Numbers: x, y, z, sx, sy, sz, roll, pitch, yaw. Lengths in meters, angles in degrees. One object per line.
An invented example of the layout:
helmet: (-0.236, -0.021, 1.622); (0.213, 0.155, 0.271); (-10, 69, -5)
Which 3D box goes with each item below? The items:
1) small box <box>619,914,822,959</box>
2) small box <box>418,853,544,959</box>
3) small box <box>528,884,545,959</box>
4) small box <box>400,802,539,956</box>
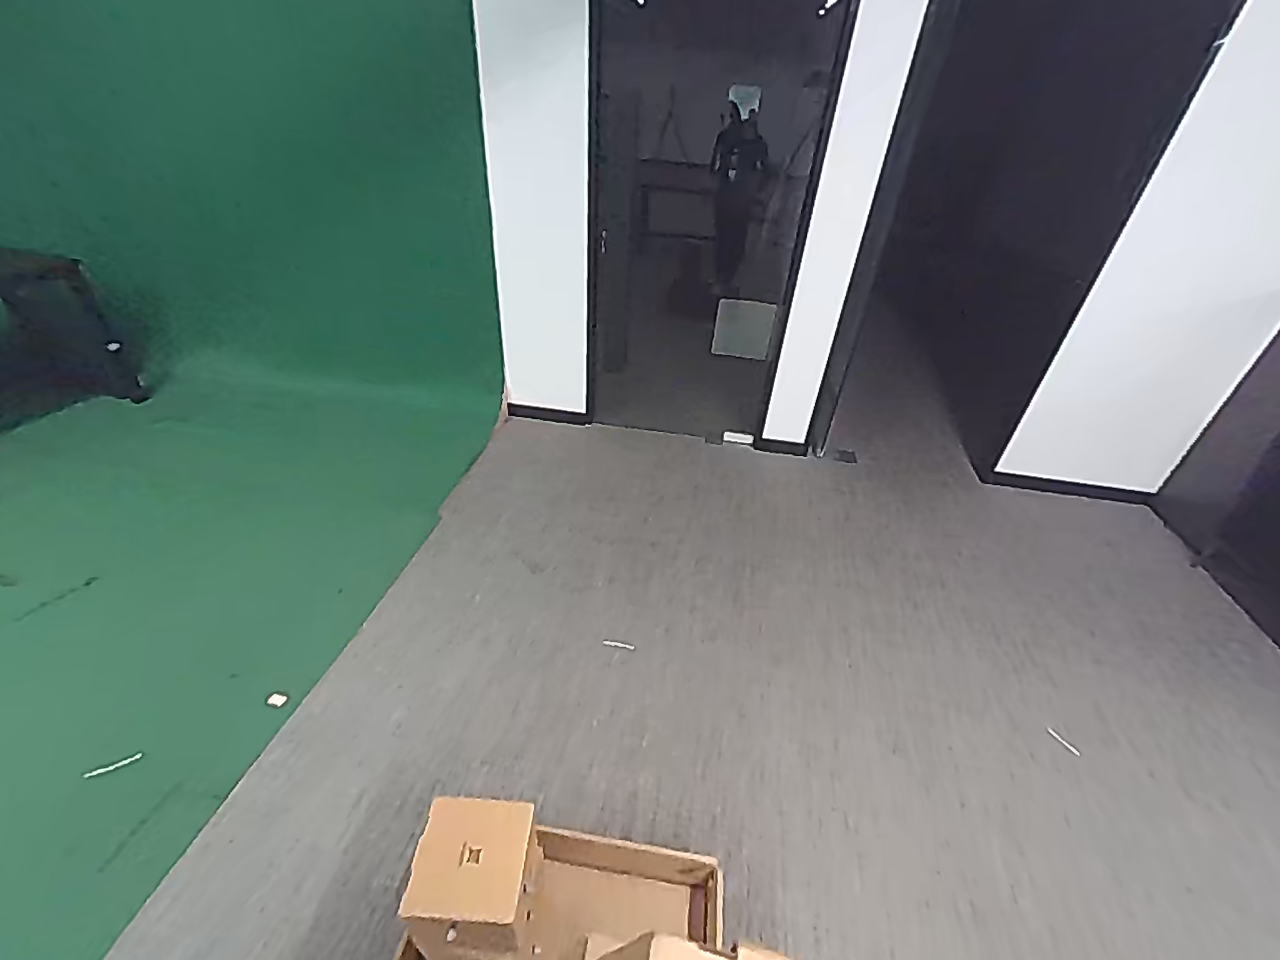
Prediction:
small box: (0.049, 0.427, 0.347); (0.168, 0.176, 0.179); (16, 37, -2)
small box: (-0.278, 0.800, 0.996); (0.168, 0.176, 0.179); (9, 37, 5)
small box: (-0.297, 0.926, 1.099); (0.179, 0.176, 0.168); (7, 36, 1)
small box: (-0.269, 0.667, 0.903); (0.179, 0.176, 0.168); (4, 37, -1)
